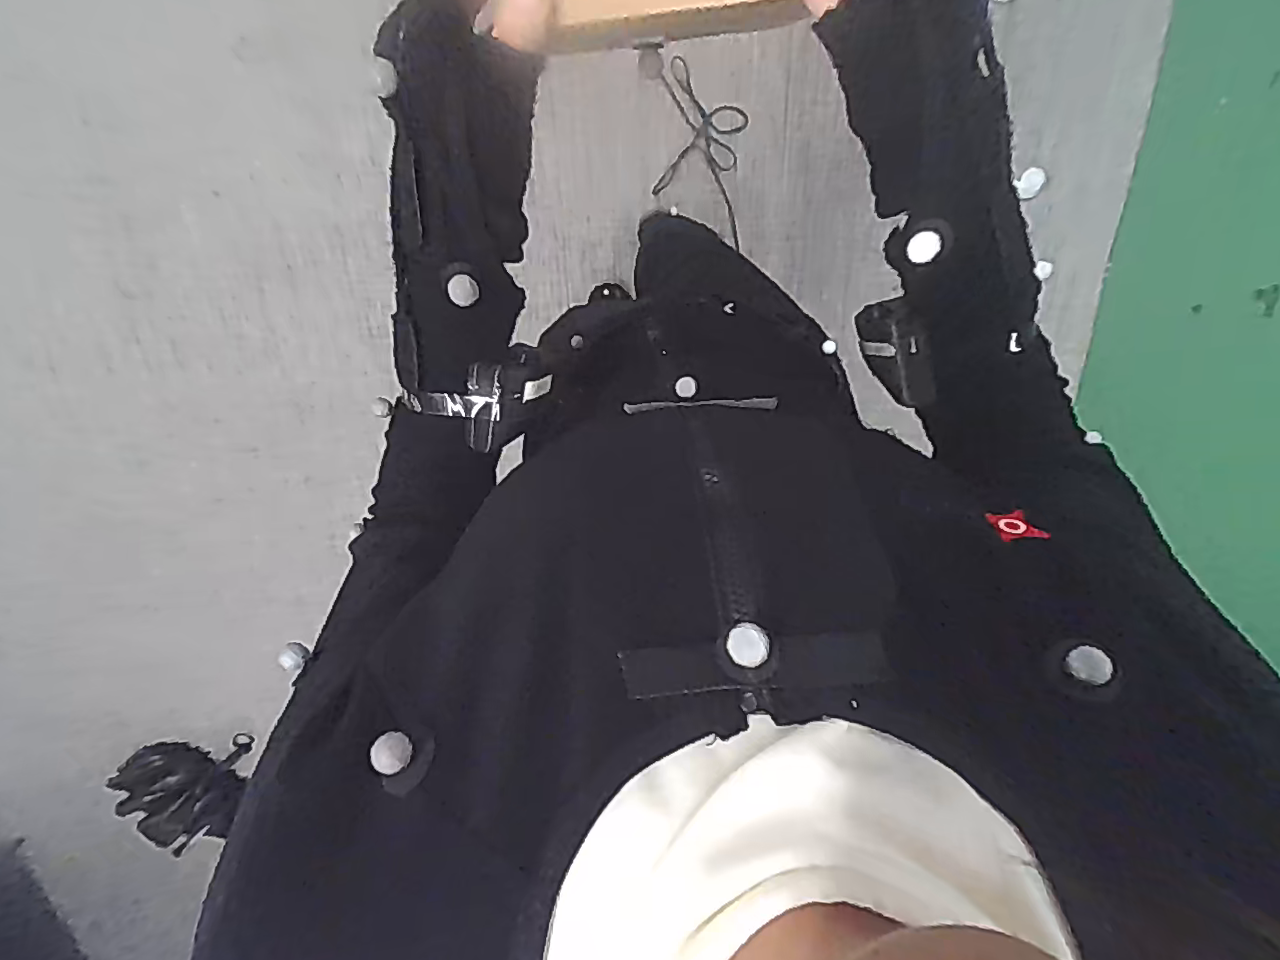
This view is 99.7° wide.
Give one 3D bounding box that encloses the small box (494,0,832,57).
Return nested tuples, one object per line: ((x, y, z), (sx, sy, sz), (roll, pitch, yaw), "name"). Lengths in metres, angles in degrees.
((0.007, -0.320, 0.250), (0.168, 0.176, 0.179), (-6, 125, 1), "small box")

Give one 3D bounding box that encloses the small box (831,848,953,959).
((0.518, 0.908, 1.137), (0.168, 0.176, 0.179), (-2, 112, -2), "small box")
